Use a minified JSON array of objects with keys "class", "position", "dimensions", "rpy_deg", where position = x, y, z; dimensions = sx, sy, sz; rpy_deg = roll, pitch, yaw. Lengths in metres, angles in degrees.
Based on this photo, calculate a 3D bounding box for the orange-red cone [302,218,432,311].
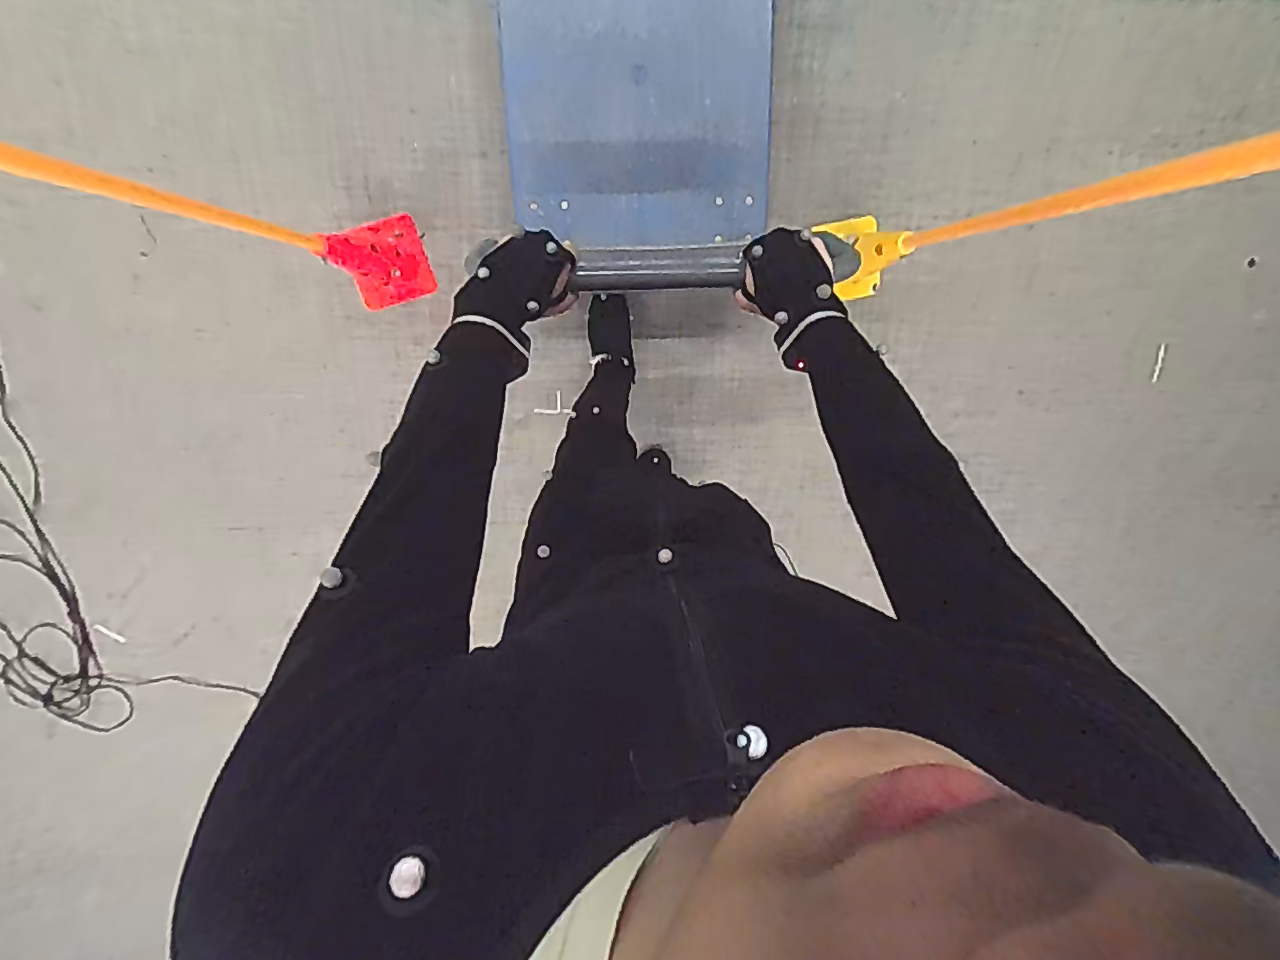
[{"class":"orange-red cone","position":[-0.645,-0.503,1.219],"dimensions":[0.199,0.360,0.198],"rpy_deg":[-15,106,3]}]
